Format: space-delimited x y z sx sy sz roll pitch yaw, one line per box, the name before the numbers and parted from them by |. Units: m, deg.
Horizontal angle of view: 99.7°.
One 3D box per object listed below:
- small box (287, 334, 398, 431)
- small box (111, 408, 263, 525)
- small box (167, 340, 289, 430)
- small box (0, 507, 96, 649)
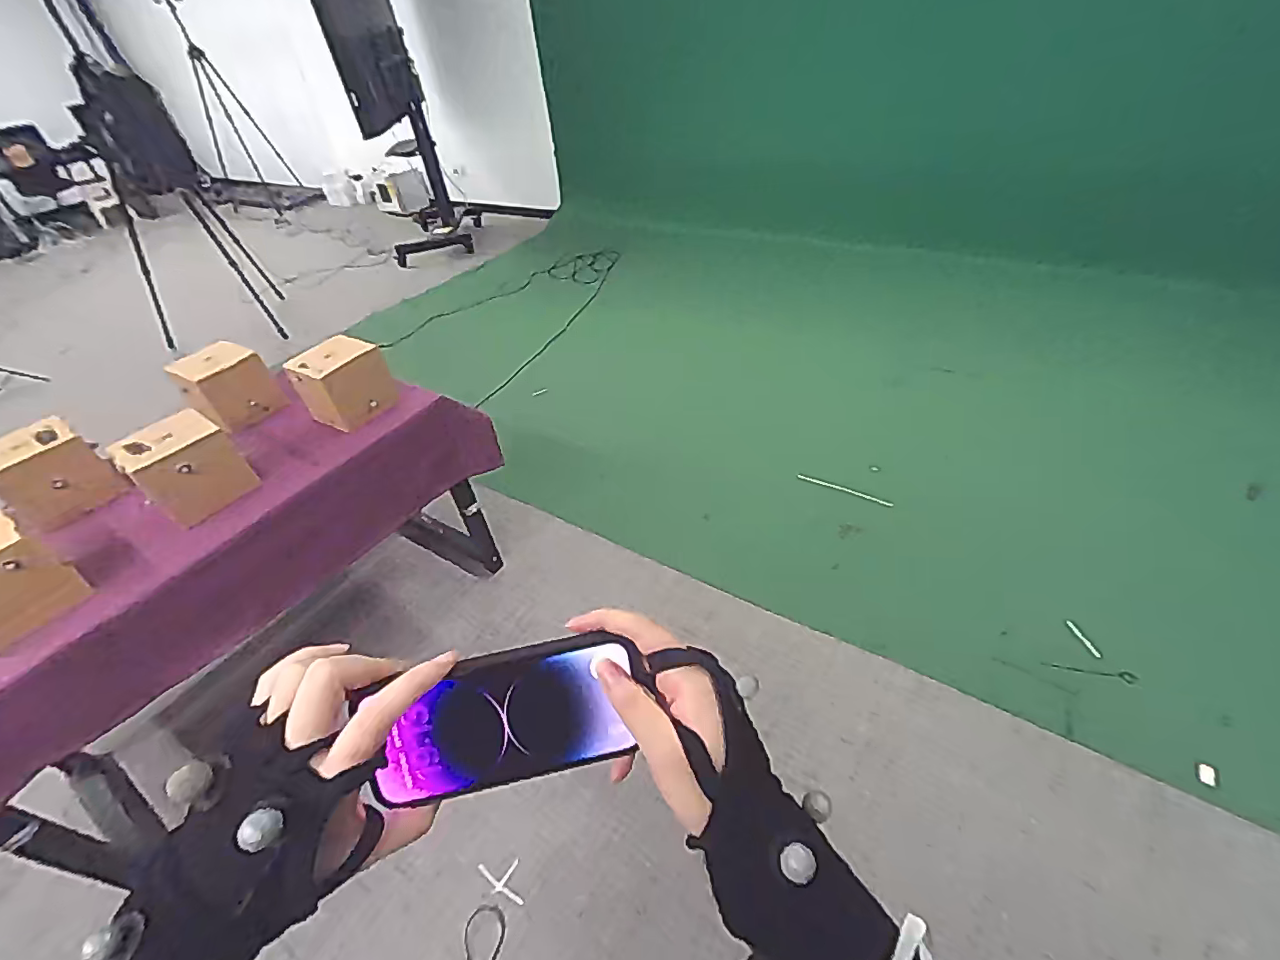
small box | -0.770 -0.257 1.424 0.168 0.176 0.179 19 48 27
small box | -1.001 -0.030 1.207 0.168 0.176 0.179 23 49 29
small box | -1.112 -0.256 1.471 0.179 0.176 0.168 19 48 25
small box | -1.182 0.186 0.994 0.168 0.176 0.179 21 48 28
